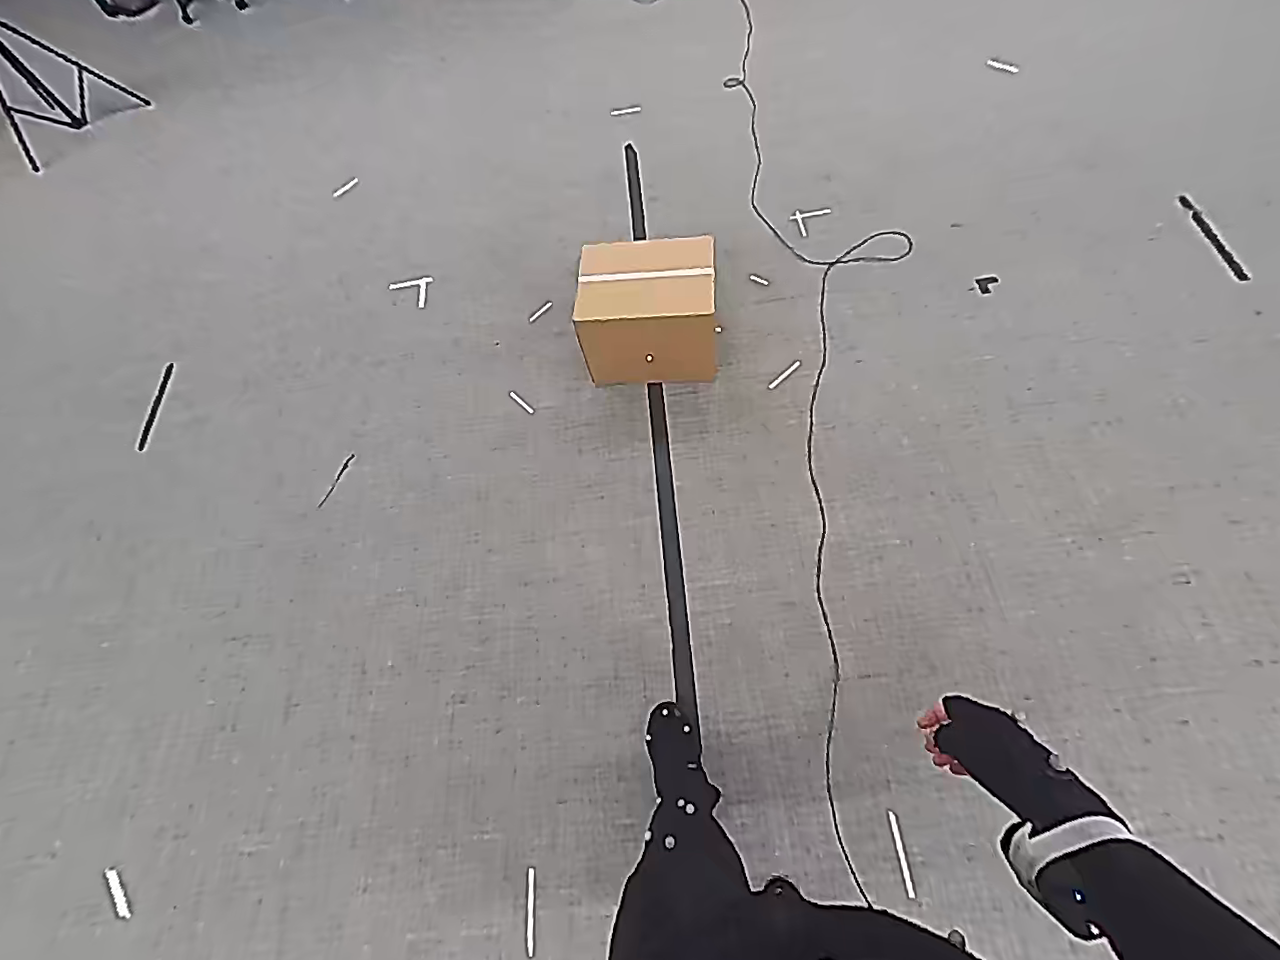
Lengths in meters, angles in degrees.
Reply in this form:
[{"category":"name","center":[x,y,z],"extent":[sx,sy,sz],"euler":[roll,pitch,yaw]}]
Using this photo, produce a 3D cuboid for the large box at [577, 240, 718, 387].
[{"category":"large box","center":[0.036,-0.511,1.704],"extent":[0.408,0.320,0.320],"euler":[-1,64,7]}]
